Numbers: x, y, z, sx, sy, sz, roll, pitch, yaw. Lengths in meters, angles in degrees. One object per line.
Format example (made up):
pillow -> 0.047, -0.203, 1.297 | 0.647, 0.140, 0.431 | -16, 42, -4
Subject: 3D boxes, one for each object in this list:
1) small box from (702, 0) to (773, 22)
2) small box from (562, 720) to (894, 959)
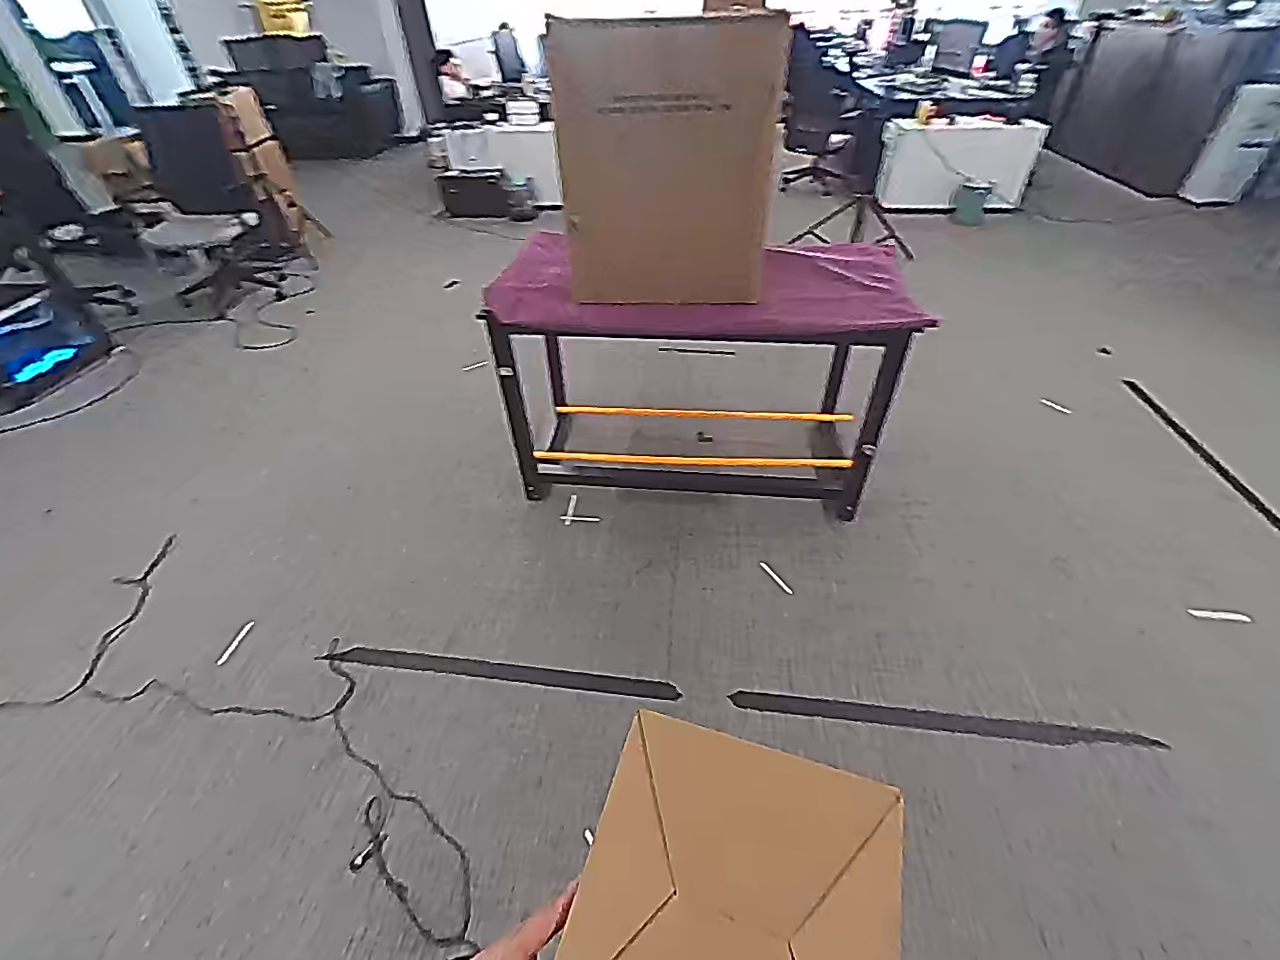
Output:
small box -> 0.234, -1.200, 1.283 | 0.168, 0.176, 0.179 | 2, 42, 7
small box -> 0.057, 0.286, 0.349 | 0.168, 0.176, 0.179 | 10, 52, 17
